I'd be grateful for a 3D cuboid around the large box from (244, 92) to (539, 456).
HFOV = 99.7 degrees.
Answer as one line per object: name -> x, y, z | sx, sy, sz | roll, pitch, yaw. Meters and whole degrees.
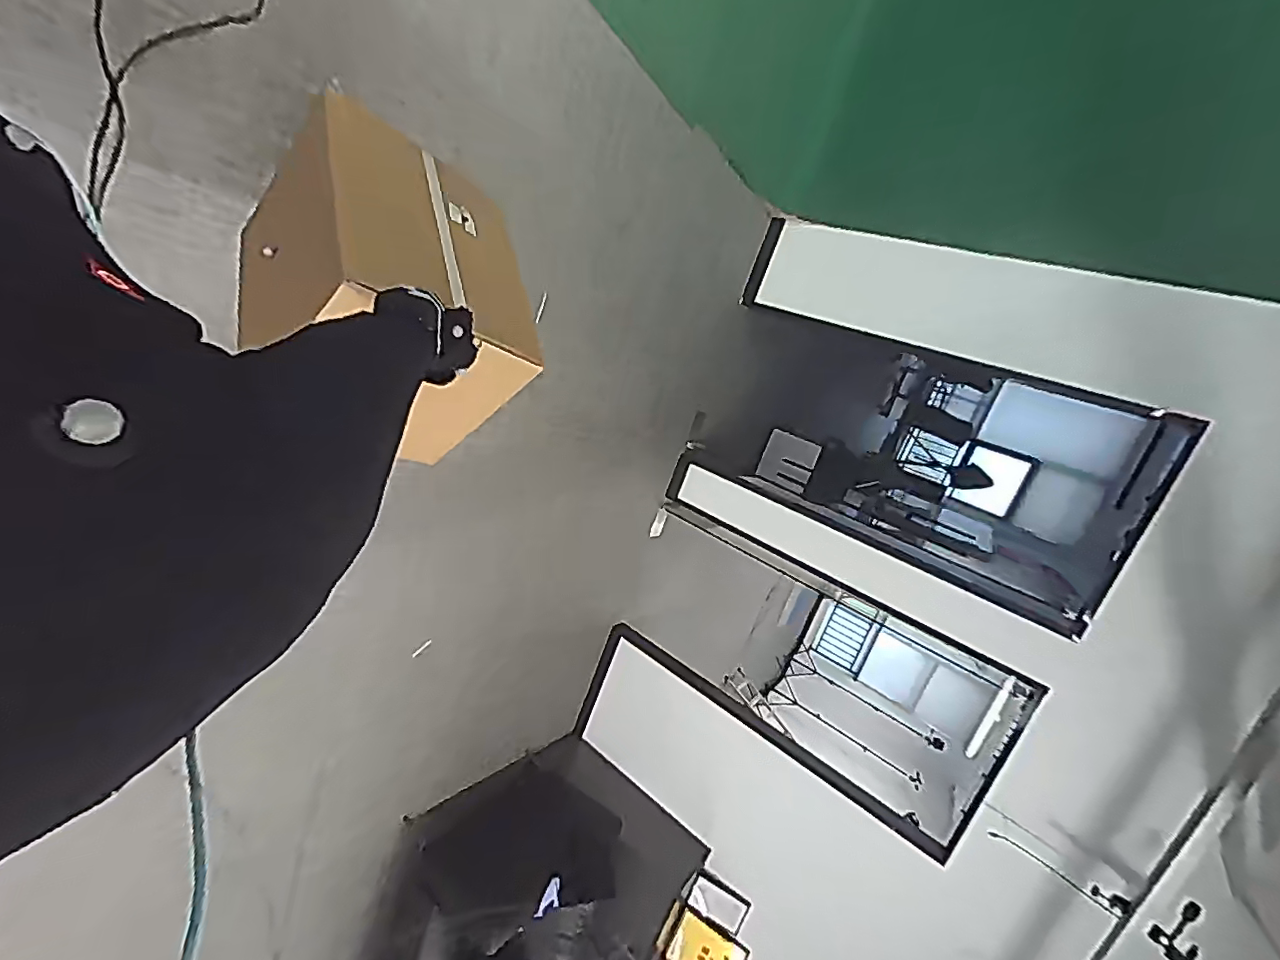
large box -> -0.422, -0.302, 0.896 | 0.320, 0.408, 0.320 | -33, 152, 27
